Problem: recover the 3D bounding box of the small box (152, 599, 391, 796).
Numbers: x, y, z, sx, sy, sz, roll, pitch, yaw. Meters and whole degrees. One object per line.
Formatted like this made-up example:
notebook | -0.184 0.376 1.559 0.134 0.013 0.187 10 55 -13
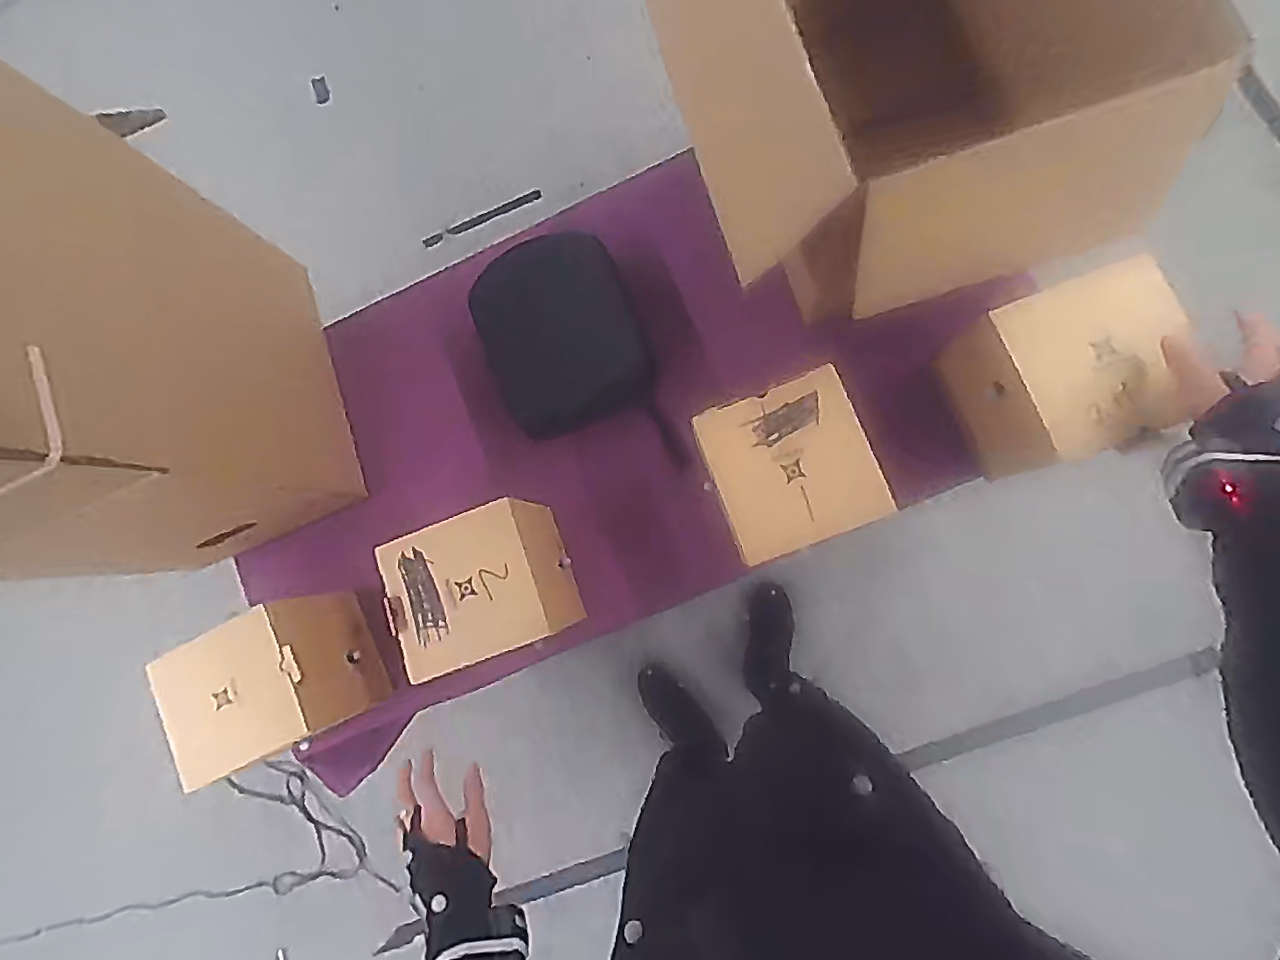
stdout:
small box | -0.476 0.273 0.720 0.179 0.176 0.168 -28 80 3
